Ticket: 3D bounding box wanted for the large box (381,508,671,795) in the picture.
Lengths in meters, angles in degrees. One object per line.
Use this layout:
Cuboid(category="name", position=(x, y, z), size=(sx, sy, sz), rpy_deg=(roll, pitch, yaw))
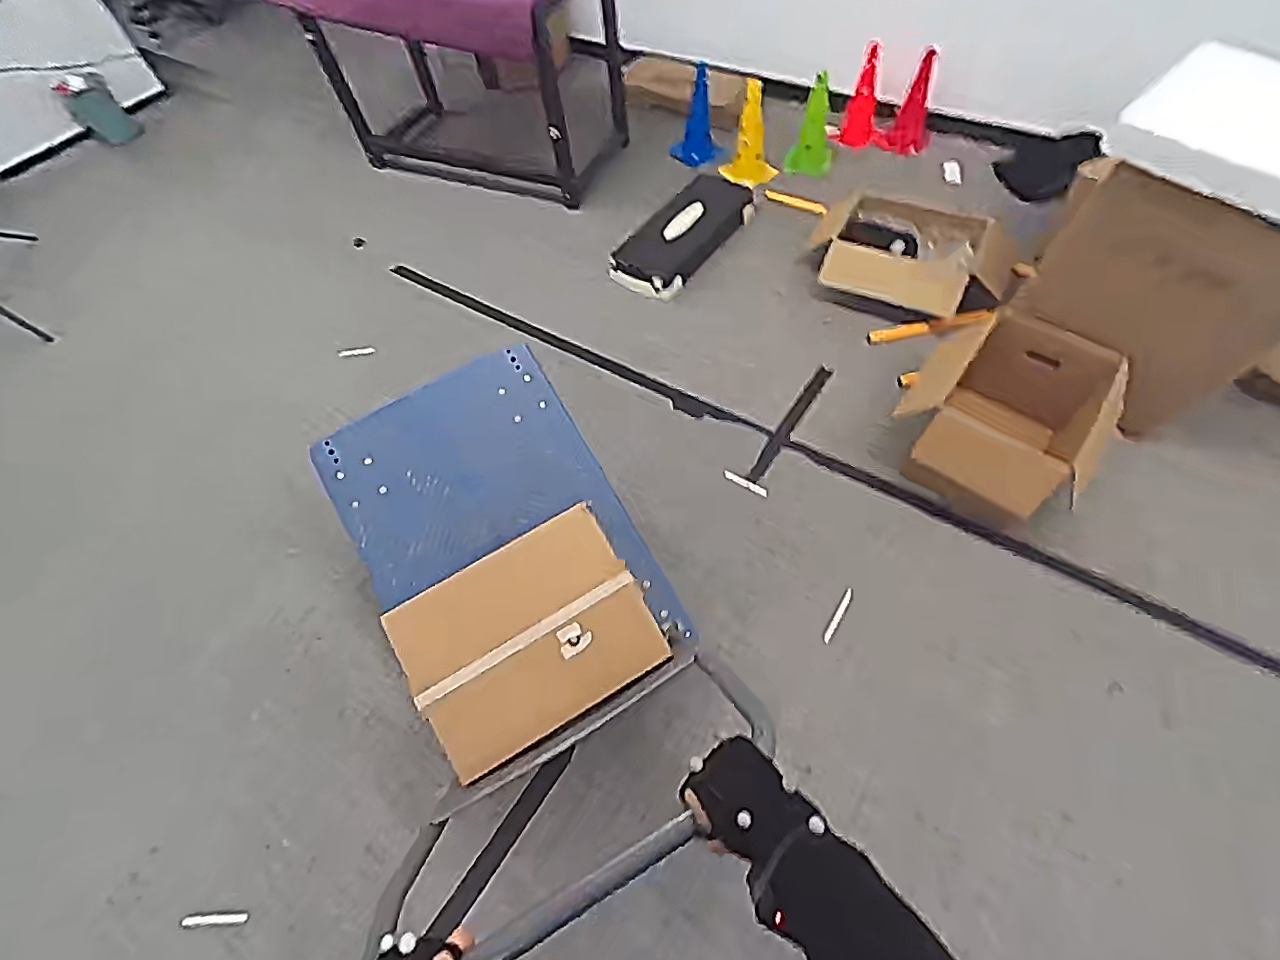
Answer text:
Cuboid(category="large box", position=(-0.200, 0.310, 1.054), size=(0.408, 0.320, 0.320), rpy_deg=(-30, 81, -10))
